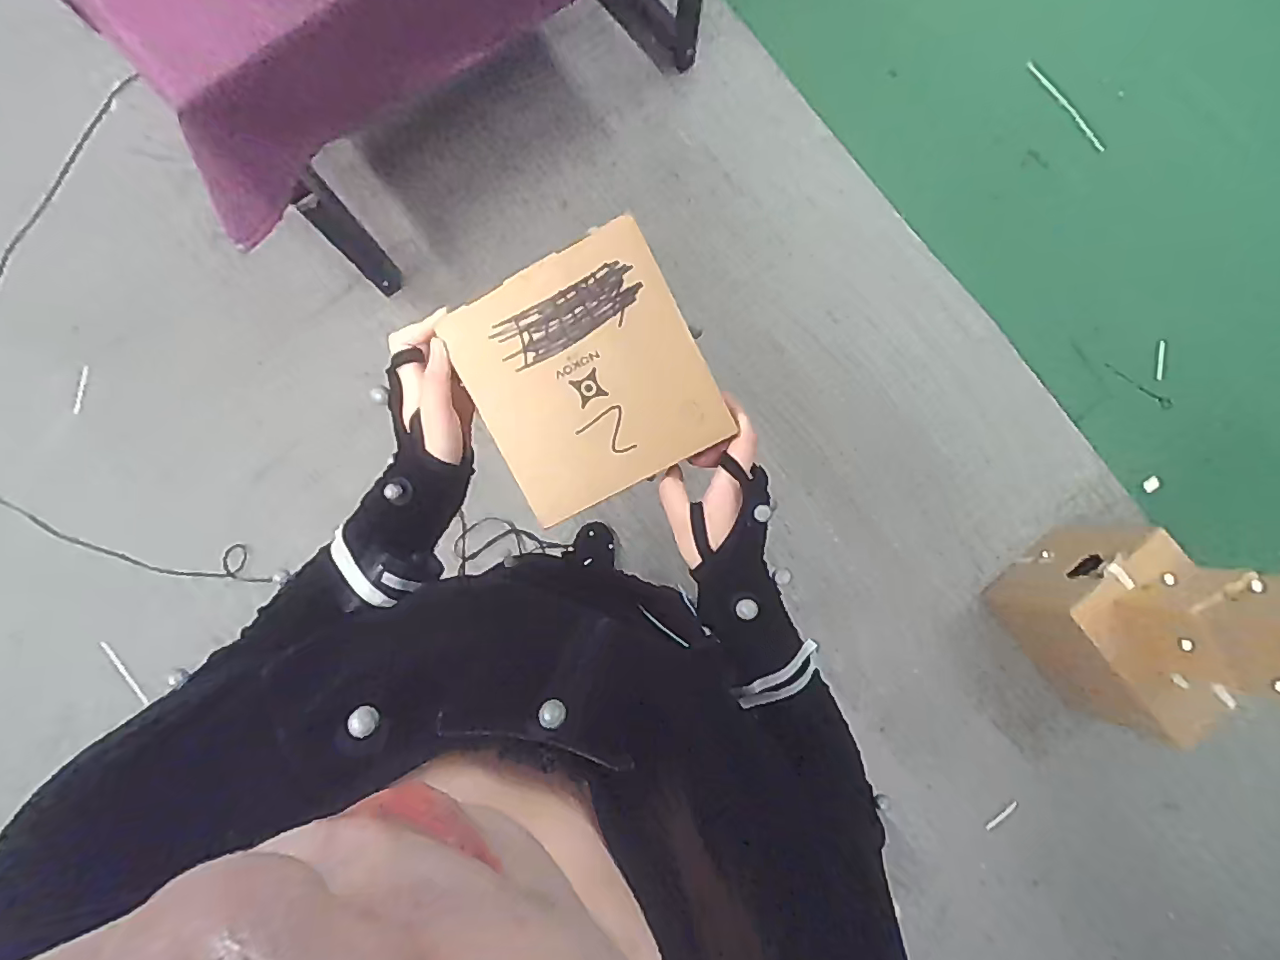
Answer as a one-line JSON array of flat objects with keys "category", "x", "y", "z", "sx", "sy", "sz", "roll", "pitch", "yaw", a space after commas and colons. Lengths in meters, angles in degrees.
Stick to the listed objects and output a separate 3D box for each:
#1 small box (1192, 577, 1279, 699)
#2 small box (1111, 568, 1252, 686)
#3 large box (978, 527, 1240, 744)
[{"category": "small box", "x": 1.198, "y": 0.293, "z": 0.992, "sx": 0.168, "sy": 0.176, "sz": 0.179, "roll": -24, "pitch": 86, "yaw": -5}, {"category": "small box", "x": 1.181, "y": 0.302, "z": 1.154, "sx": 0.168, "sy": 0.176, "sz": 0.179, "roll": -27, "pitch": 86, "yaw": -5}, {"category": "large box", "x": 1.196, "y": 0.367, "z": 1.392, "sx": 0.320, "sy": 0.320, "sz": 0.408, "roll": -38, "pitch": 89, "yaw": -5}]
